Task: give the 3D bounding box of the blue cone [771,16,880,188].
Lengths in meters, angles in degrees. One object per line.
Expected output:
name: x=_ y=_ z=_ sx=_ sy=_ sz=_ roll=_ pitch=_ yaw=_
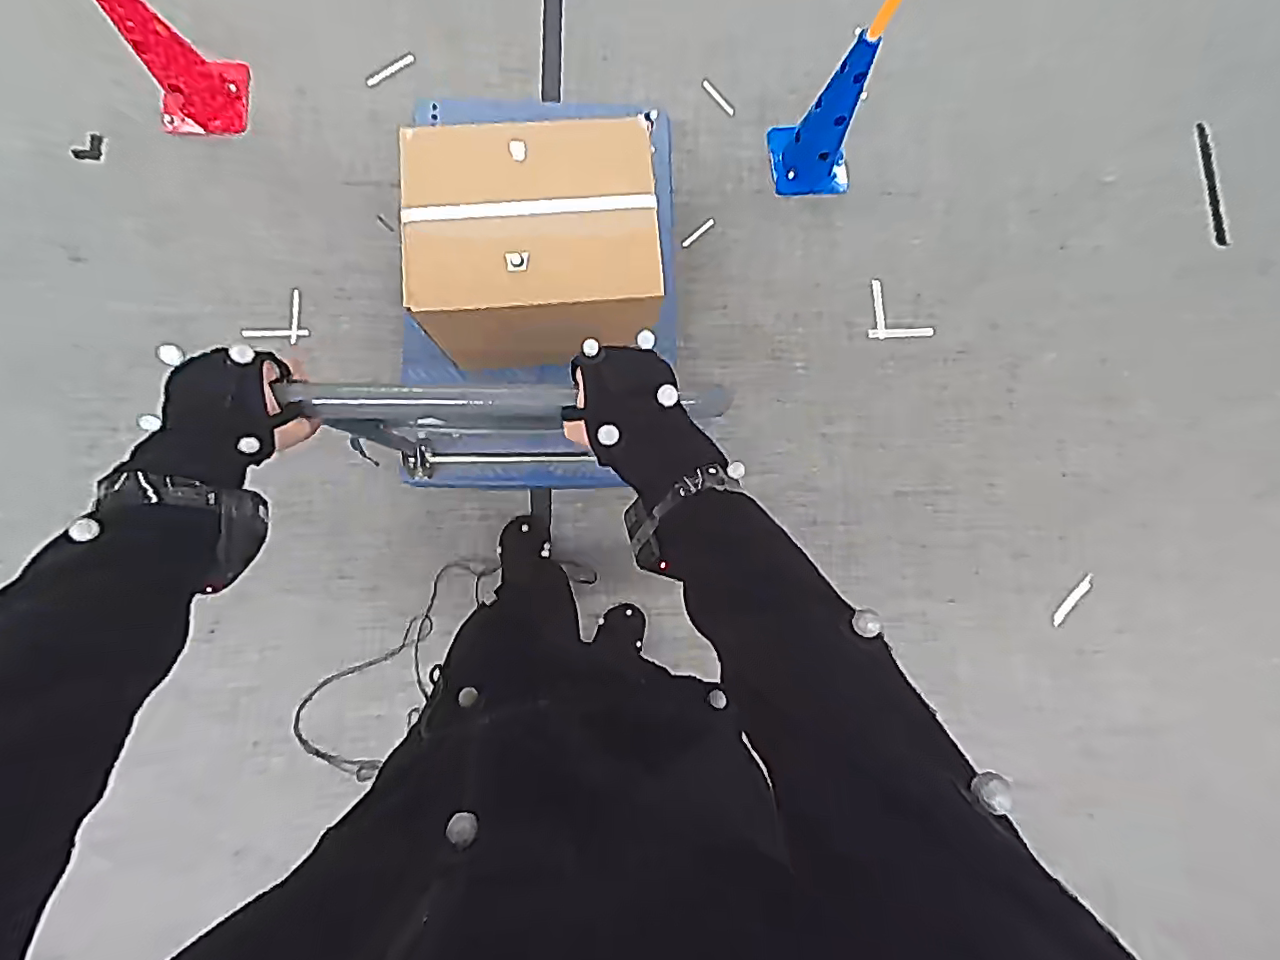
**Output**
blue cone: x=0.459 y=-0.885 z=1.272 sx=0.193 sy=0.380 sz=0.192 roll=-4 pitch=82 yaw=-4
